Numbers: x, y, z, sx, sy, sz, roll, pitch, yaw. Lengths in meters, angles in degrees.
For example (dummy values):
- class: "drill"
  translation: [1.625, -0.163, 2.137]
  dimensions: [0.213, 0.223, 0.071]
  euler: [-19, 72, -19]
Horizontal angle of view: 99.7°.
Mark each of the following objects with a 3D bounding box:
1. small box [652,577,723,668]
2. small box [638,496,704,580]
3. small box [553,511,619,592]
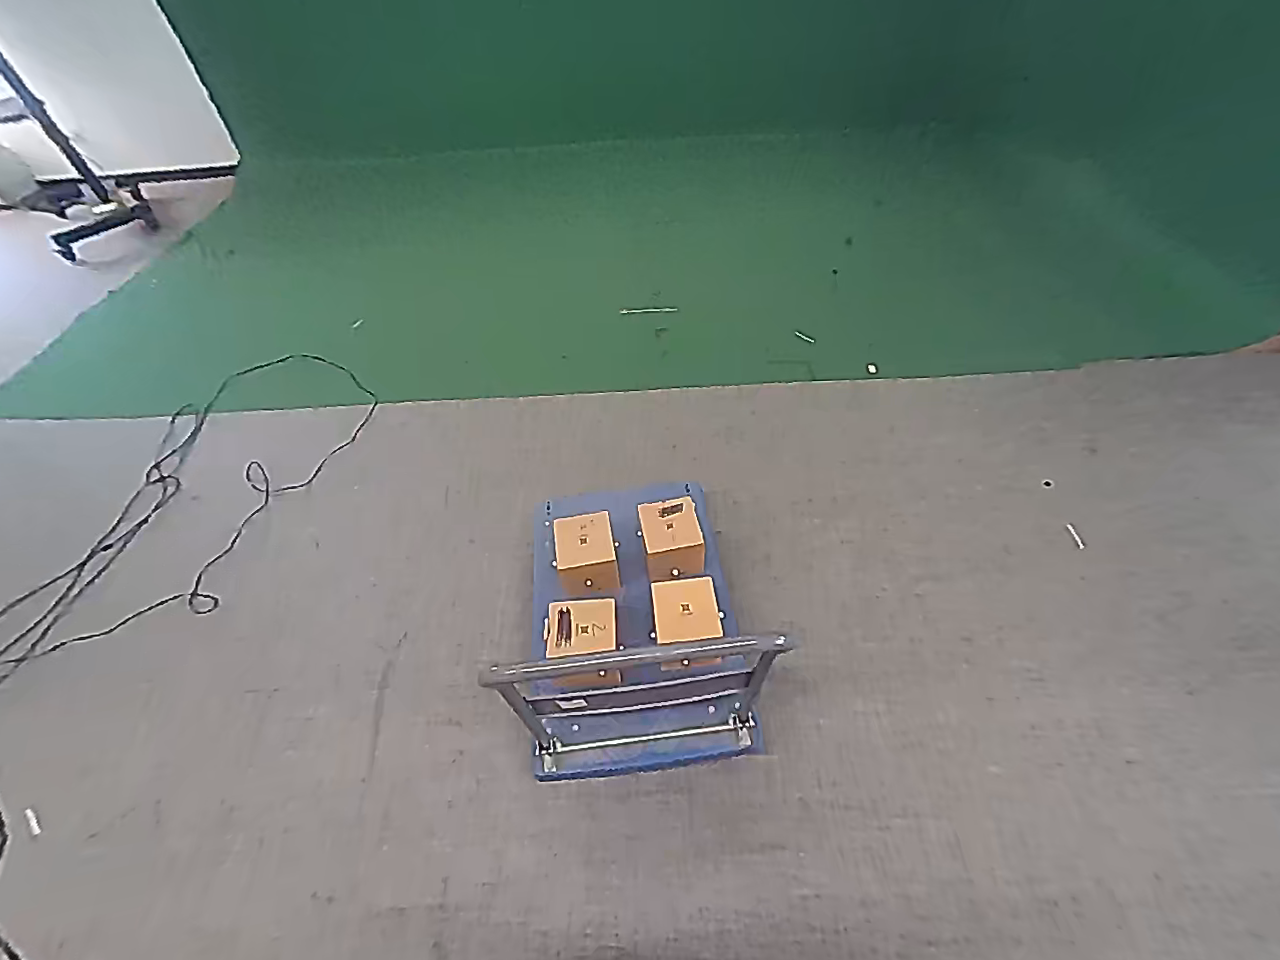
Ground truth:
- class: "small box"
  translation: [0.120, 0.383, 1.449]
  dimensions: [0.168, 0.176, 0.179]
  euler: [-6, 51, -1]
- class: "small box"
  translation: [0.090, 0.176, 1.621]
  dimensions: [0.168, 0.176, 0.179]
  euler: [-10, 51, -3]
- class: "small box"
  translation: [-0.158, 0.218, 1.603]
  dimensions: [0.168, 0.176, 0.179]
  euler: [-9, 50, -4]
